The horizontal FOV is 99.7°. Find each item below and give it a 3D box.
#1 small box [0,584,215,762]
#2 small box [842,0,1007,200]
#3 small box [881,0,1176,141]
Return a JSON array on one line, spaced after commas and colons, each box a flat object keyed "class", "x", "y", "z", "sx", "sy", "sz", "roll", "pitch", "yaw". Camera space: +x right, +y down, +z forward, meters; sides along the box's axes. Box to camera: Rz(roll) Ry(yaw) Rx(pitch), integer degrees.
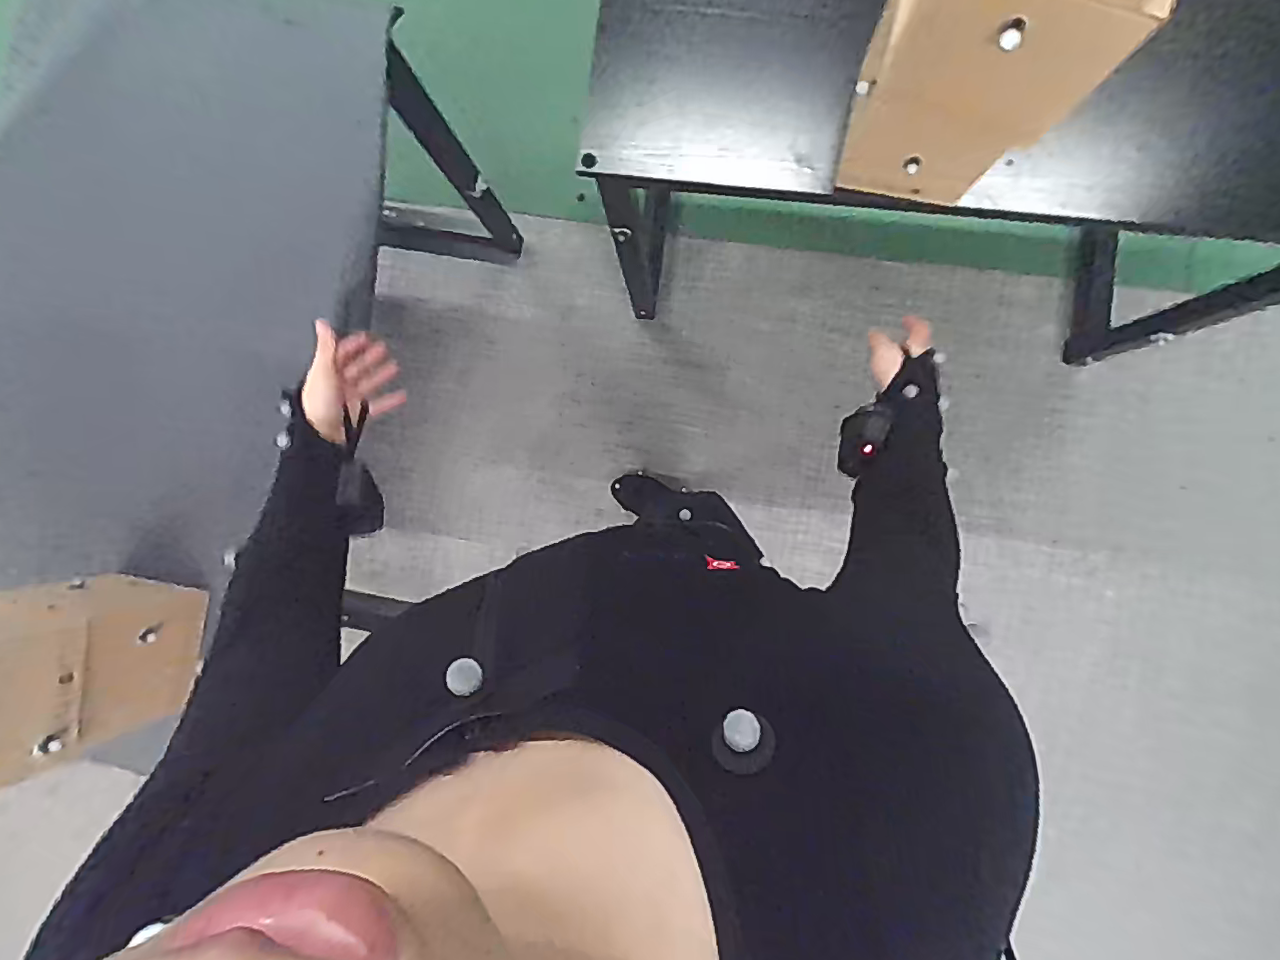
[{"class": "small box", "x": -0.739, "y": 0.250, "z": 0.748, "sx": 0.168, "sy": 0.176, "sz": 0.179, "roll": 8, "pitch": 90, "yaw": 7}, {"class": "small box", "x": 0.363, "y": -0.476, "z": 0.662, "sx": 0.168, "sy": 0.176, "sz": 0.179, "roll": 12, "pitch": 90, "yaw": 4}, {"class": "small box", "x": 0.359, "y": -0.455, "z": 0.499, "sx": 0.179, "sy": 0.176, "sz": 0.168, "roll": 20, "pitch": 91, "yaw": 5}]
